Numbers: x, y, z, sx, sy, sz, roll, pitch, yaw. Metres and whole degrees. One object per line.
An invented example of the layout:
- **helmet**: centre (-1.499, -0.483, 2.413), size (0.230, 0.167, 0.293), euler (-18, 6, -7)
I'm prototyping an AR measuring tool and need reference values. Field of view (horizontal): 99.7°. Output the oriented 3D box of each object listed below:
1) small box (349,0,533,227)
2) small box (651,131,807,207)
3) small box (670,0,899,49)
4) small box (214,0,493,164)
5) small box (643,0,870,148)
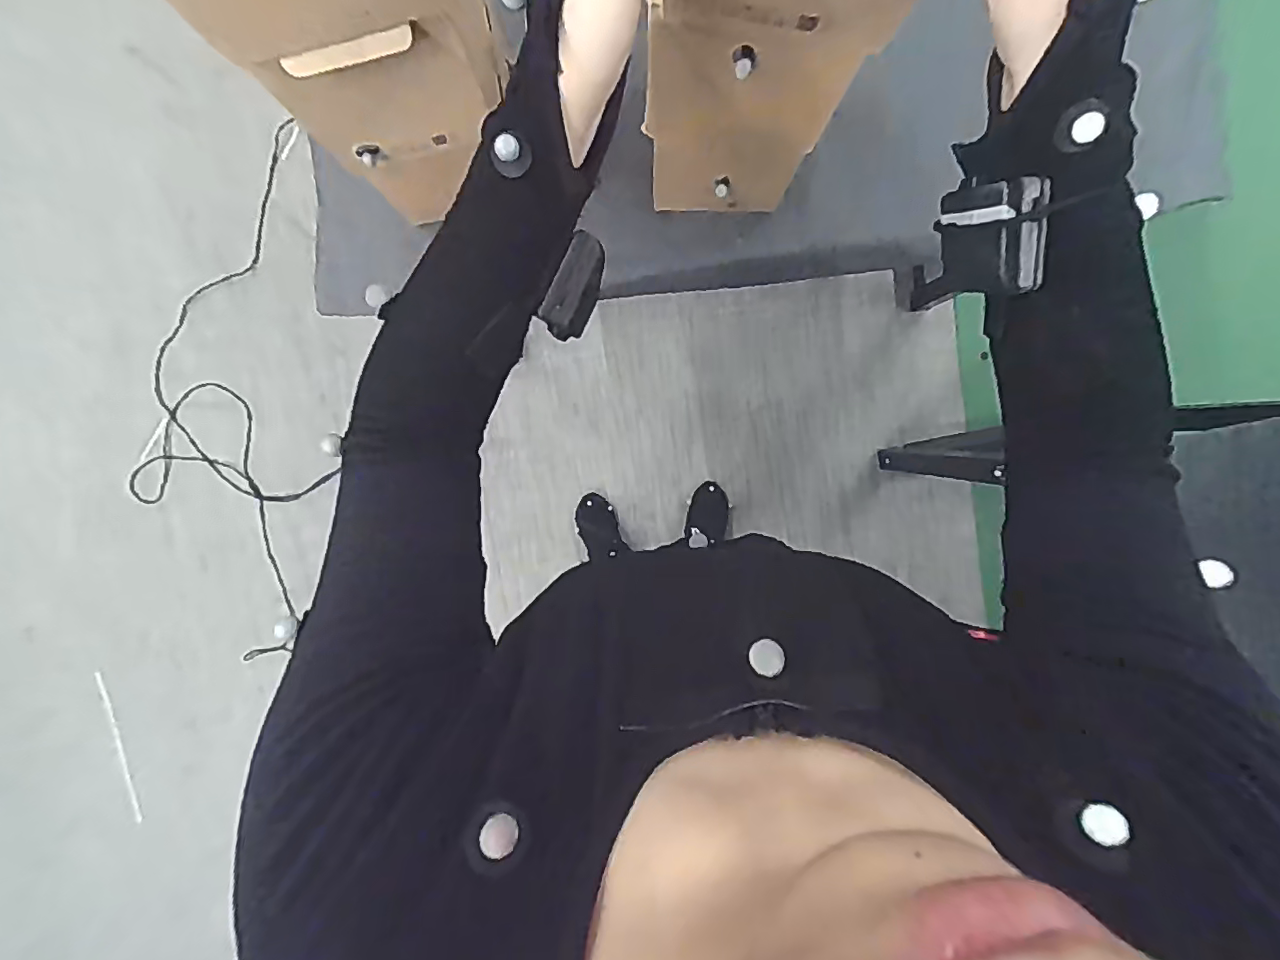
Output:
- **small box**: centre (-0.234, -0.429, 0.646), size (0.179, 0.176, 0.168), euler (-10, 92, 2)
- **small box**: centre (0.098, -0.442, 0.638), size (0.168, 0.176, 0.179), euler (0, 94, 2)
- **small box**: centre (0.101, -0.396, 0.308), size (0.168, 0.176, 0.179), euler (7, 95, -1)
- **small box**: centre (-0.247, -0.416, 0.482), size (0.168, 0.176, 0.179), euler (-14, 91, 1)
- **small box**: centre (0.099, -0.423, 0.475), size (0.179, 0.176, 0.168), euler (6, 94, 2)
